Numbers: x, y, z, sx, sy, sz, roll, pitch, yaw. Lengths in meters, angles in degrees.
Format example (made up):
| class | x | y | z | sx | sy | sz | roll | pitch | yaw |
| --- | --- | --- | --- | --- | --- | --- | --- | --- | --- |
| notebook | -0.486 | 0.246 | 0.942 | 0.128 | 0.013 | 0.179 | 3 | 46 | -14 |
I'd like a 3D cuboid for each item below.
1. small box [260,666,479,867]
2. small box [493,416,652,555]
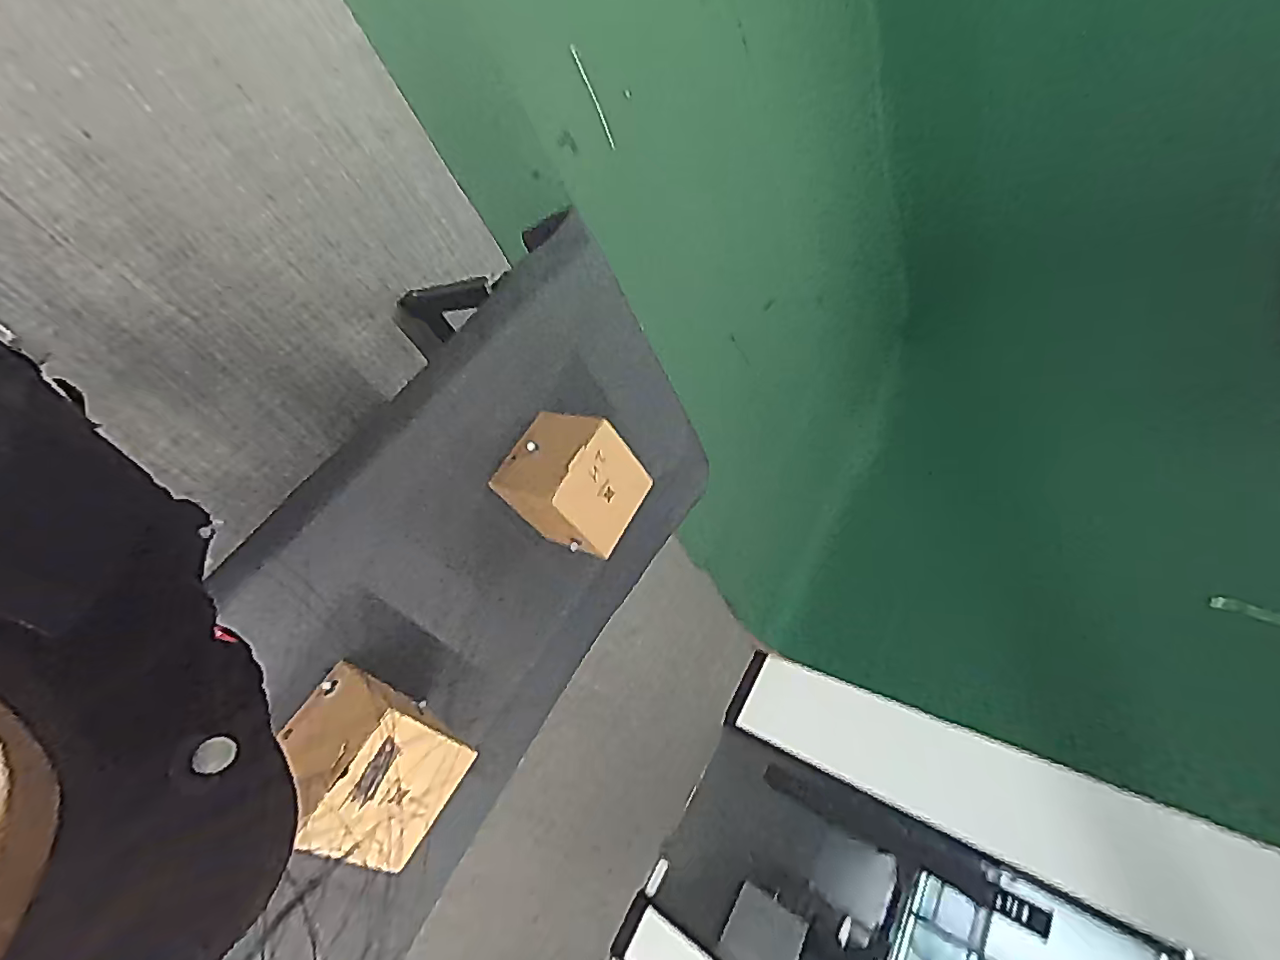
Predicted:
| class | x | y | z | sx | sy | sz | roll | pitch | yaw |
| --- | --- | --- | --- | --- | --- | --- | --- | --- | --- |
| small box | -0.367 | 0.378 | 0.738 | 0.168 | 0.176 | 0.179 | -55 | 135 | -25 |
| small box | -0.115 | 0.002 | 0.942 | 0.168 | 0.176 | 0.179 | -59 | 135 | -23 |
